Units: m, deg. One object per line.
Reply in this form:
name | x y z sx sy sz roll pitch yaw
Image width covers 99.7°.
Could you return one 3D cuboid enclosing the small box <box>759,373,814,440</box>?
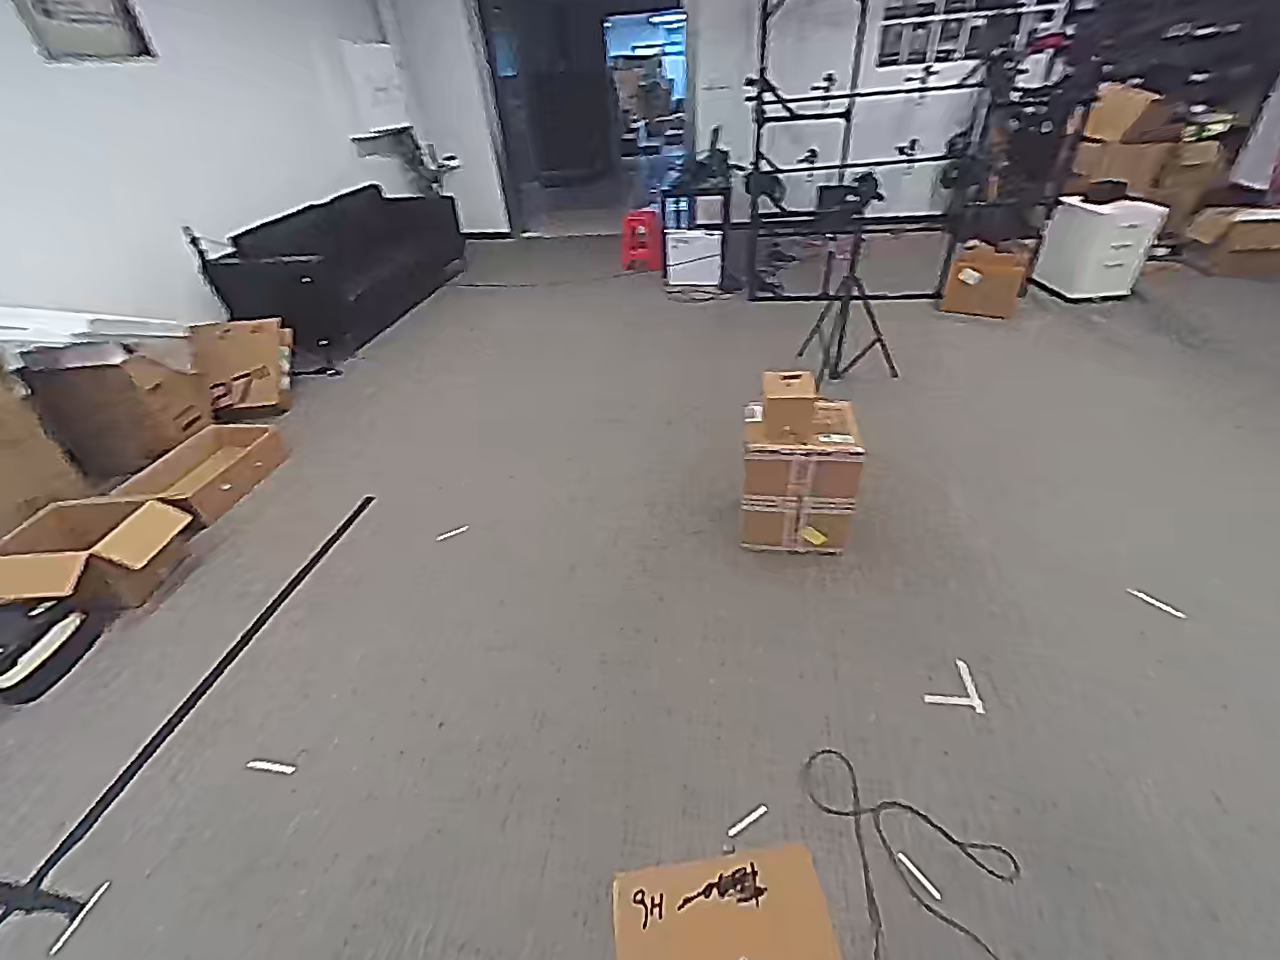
small box | 0.507 -0.258 1.890 0.168 0.176 0.179 0 41 9
